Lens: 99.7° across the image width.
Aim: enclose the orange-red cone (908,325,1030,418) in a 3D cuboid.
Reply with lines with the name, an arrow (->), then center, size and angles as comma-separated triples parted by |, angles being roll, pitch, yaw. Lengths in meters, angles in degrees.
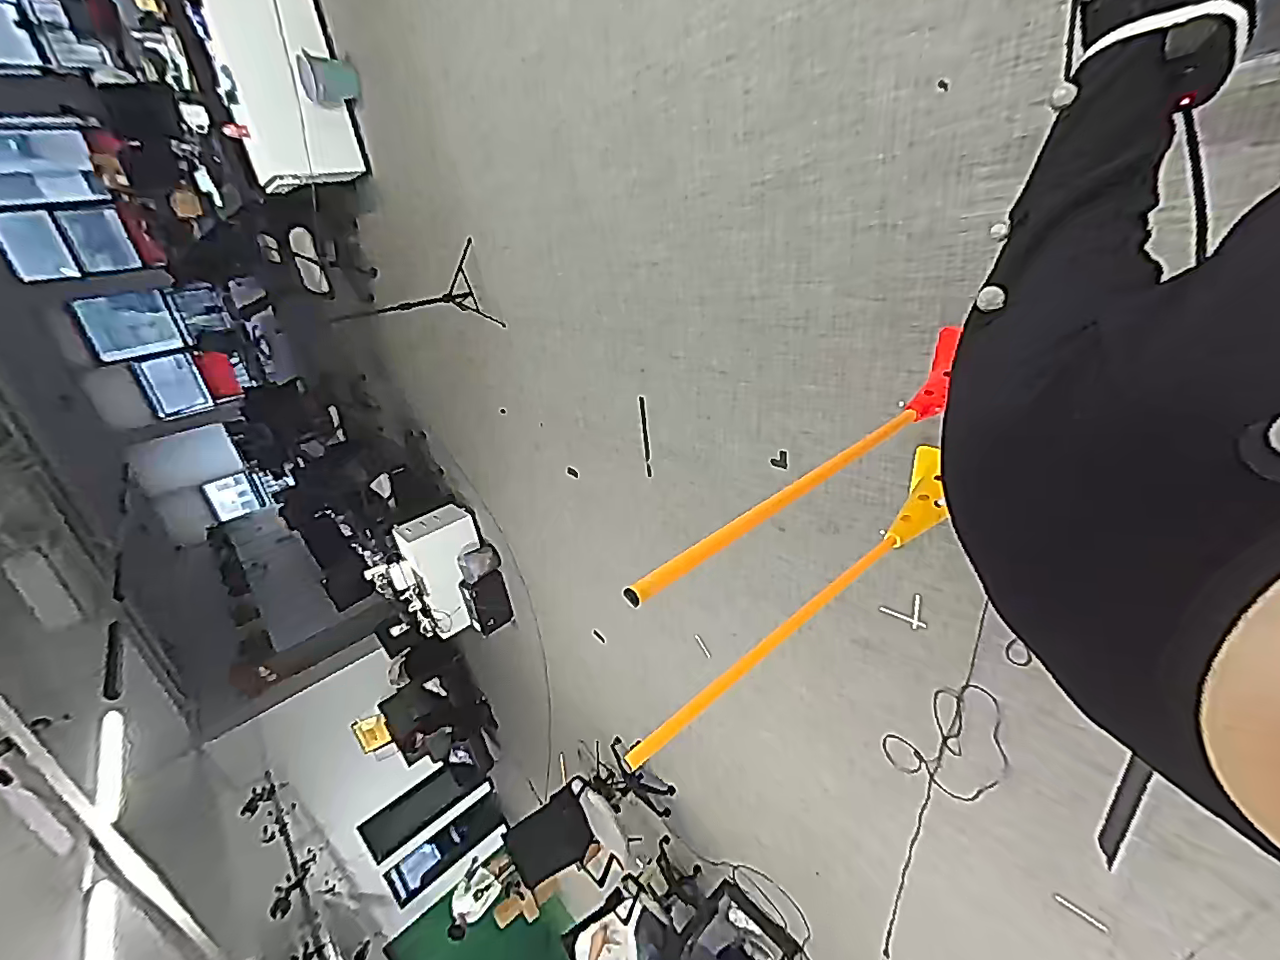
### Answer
orange-red cone -> 0.717, -0.215, 1.256 | 0.198, 0.360, 0.199 | 27, 131, 40
